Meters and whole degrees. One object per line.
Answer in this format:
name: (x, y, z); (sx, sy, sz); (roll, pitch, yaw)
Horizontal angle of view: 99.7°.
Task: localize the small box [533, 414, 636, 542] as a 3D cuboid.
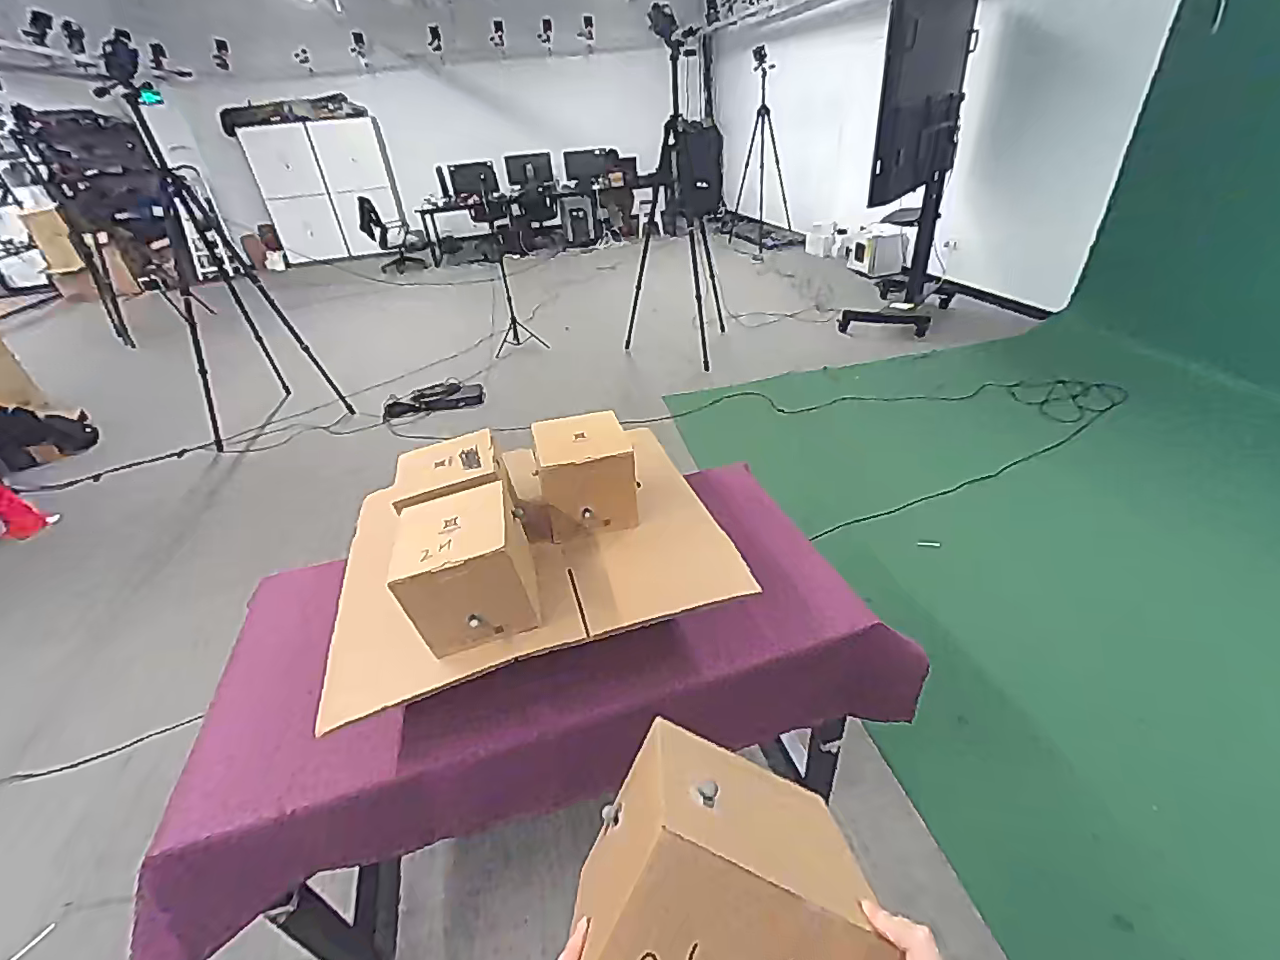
small box: (-0.107, -0.006, 1.044); (0.168, 0.176, 0.179); (-11, 35, -11)
